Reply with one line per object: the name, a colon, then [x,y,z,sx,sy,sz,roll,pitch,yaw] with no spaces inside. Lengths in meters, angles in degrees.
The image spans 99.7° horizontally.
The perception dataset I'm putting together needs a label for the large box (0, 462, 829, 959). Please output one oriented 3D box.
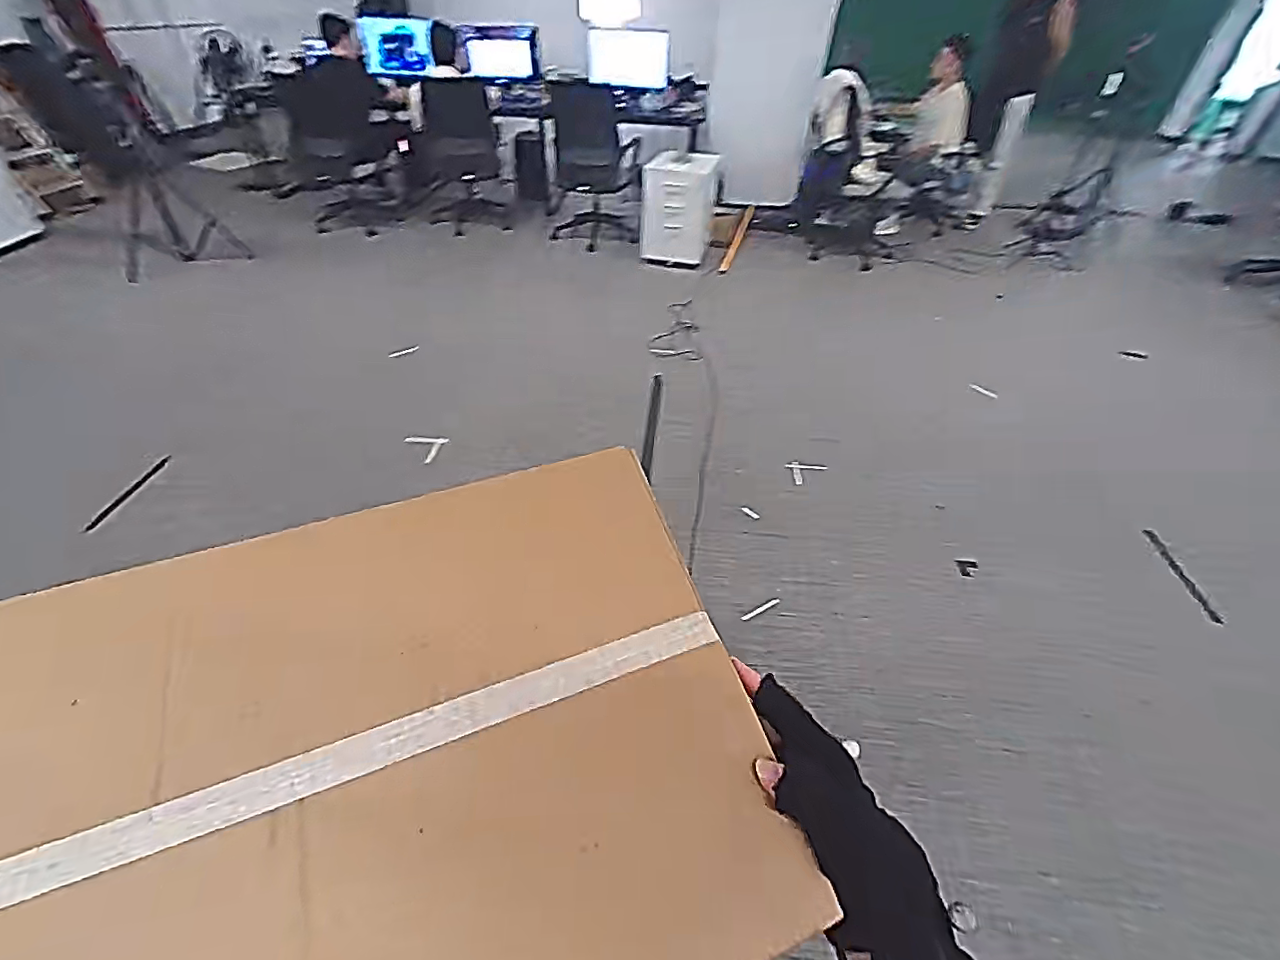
large box: [-0.145,0.237,0.427,0.408,0.320,0.320,-15,58,-14]
